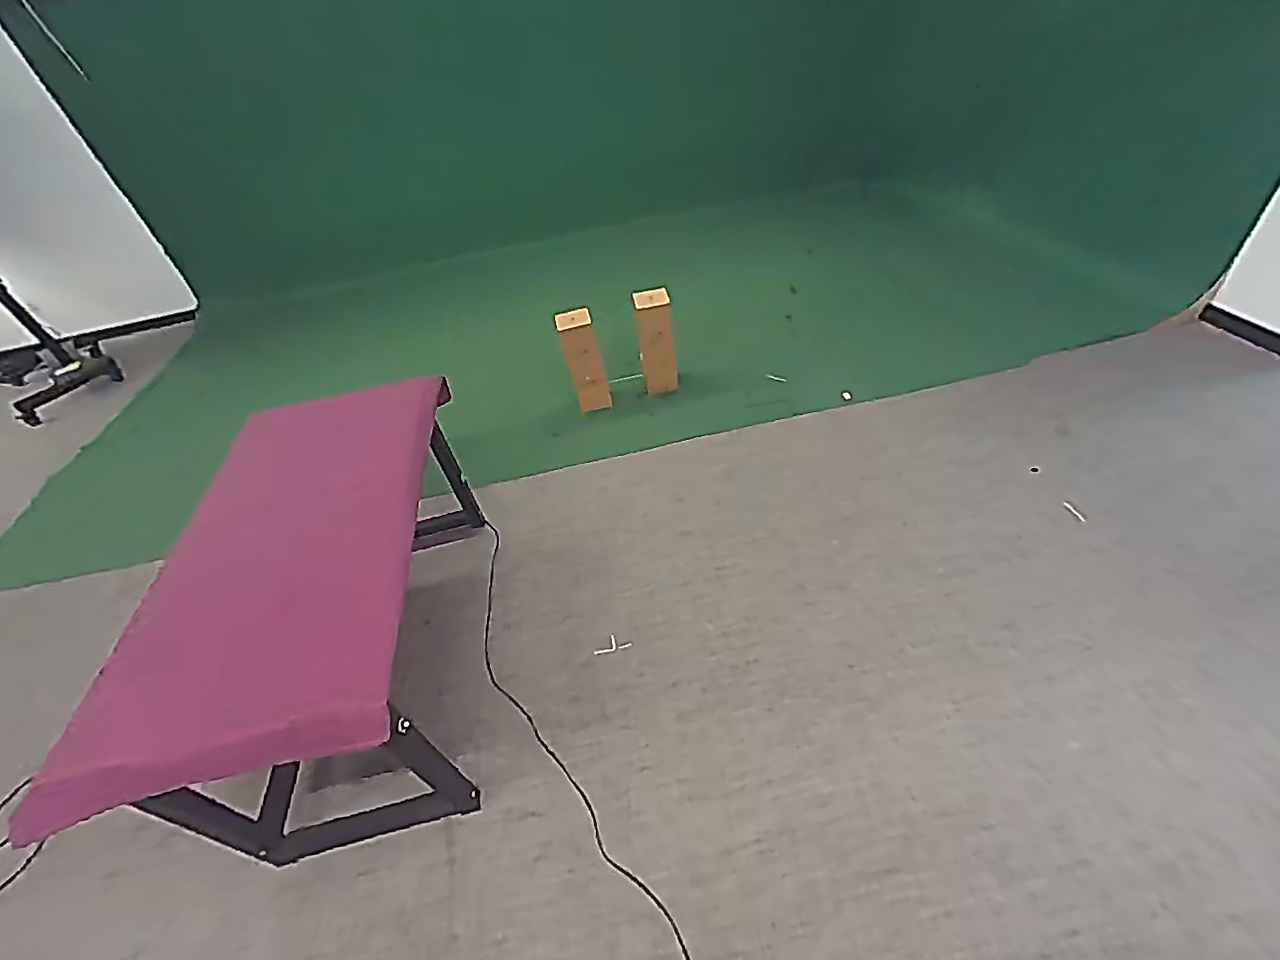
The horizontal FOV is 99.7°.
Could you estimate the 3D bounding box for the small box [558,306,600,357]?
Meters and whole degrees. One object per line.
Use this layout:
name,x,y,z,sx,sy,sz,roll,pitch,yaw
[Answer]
small box,-0.299,-0.726,2.652,0.168,0.176,0.179,-15,43,-2

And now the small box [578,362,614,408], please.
small box,-0.237,-0.501,2.880,0.168,0.176,0.179,-12,42,-1

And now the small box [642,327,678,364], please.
small box,0.100,-0.722,2.799,0.168,0.176,0.179,-10,43,1

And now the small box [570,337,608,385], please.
small box,-0.268,-0.612,2.763,0.168,0.176,0.179,-14,43,-3

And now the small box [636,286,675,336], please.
small box,0.075,-0.836,2.683,0.168,0.176,0.179,-10,44,1
